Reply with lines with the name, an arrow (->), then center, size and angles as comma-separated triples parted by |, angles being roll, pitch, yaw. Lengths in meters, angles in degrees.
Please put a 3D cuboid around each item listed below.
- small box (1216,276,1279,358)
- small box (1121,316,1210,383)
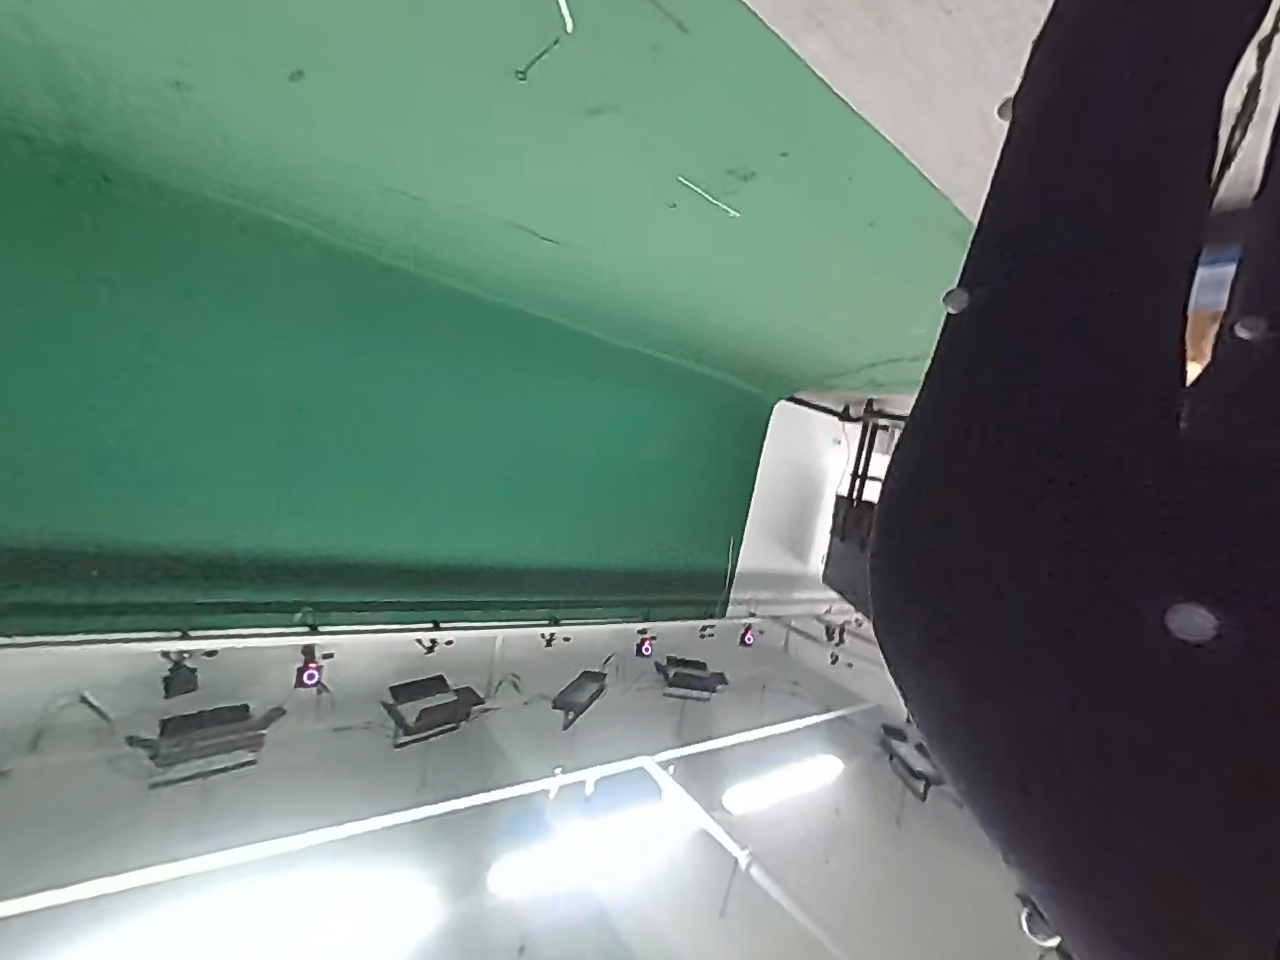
small box -> 1.618, -0.415, 1.379 | 0.168, 0.176, 0.179 | 10, -176, -41
small box -> 1.692, -0.419, 1.738 | 0.179, 0.176, 0.168 | 12, -177, -39
